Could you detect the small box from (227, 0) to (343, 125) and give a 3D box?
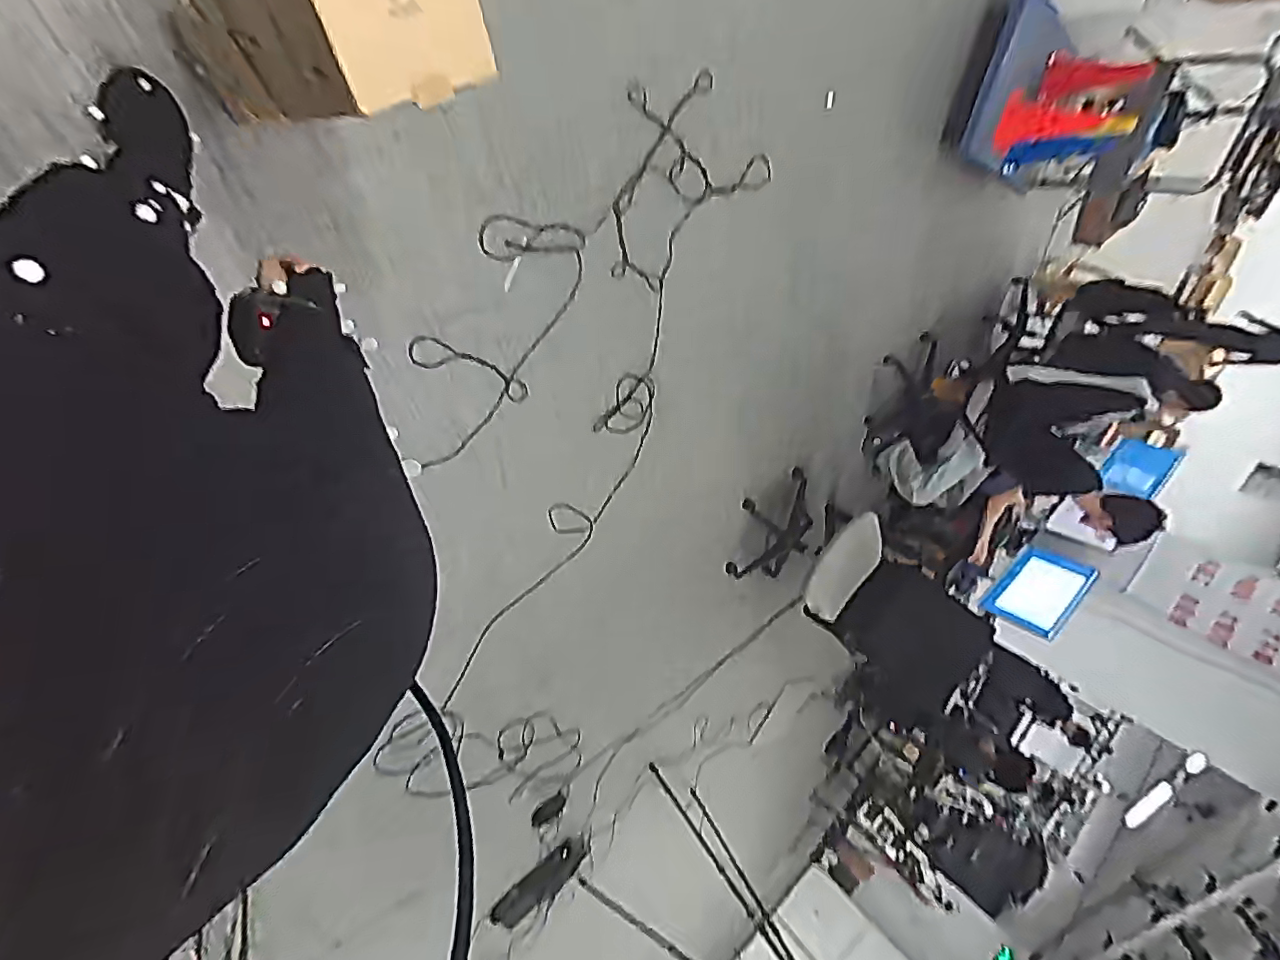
[{"bbox_3d":[-0.394,-0.570,0.682,0.168,0.176,0.179,-36,135,-23],"label":"small box"}]

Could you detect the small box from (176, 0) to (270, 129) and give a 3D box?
[{"bbox_3d":[-0.614,-0.696,0.889,0.179,0.176,0.168,-36,134,-22],"label":"small box"}]

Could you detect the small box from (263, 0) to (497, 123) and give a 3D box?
[{"bbox_3d":[-0.287,-0.503,0.578,0.168,0.176,0.179,-36,134,-24],"label":"small box"}]

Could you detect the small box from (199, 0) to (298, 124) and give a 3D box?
[{"bbox_3d":[-0.501,-0.635,0.788,0.179,0.176,0.168,-36,135,-23],"label":"small box"}]
